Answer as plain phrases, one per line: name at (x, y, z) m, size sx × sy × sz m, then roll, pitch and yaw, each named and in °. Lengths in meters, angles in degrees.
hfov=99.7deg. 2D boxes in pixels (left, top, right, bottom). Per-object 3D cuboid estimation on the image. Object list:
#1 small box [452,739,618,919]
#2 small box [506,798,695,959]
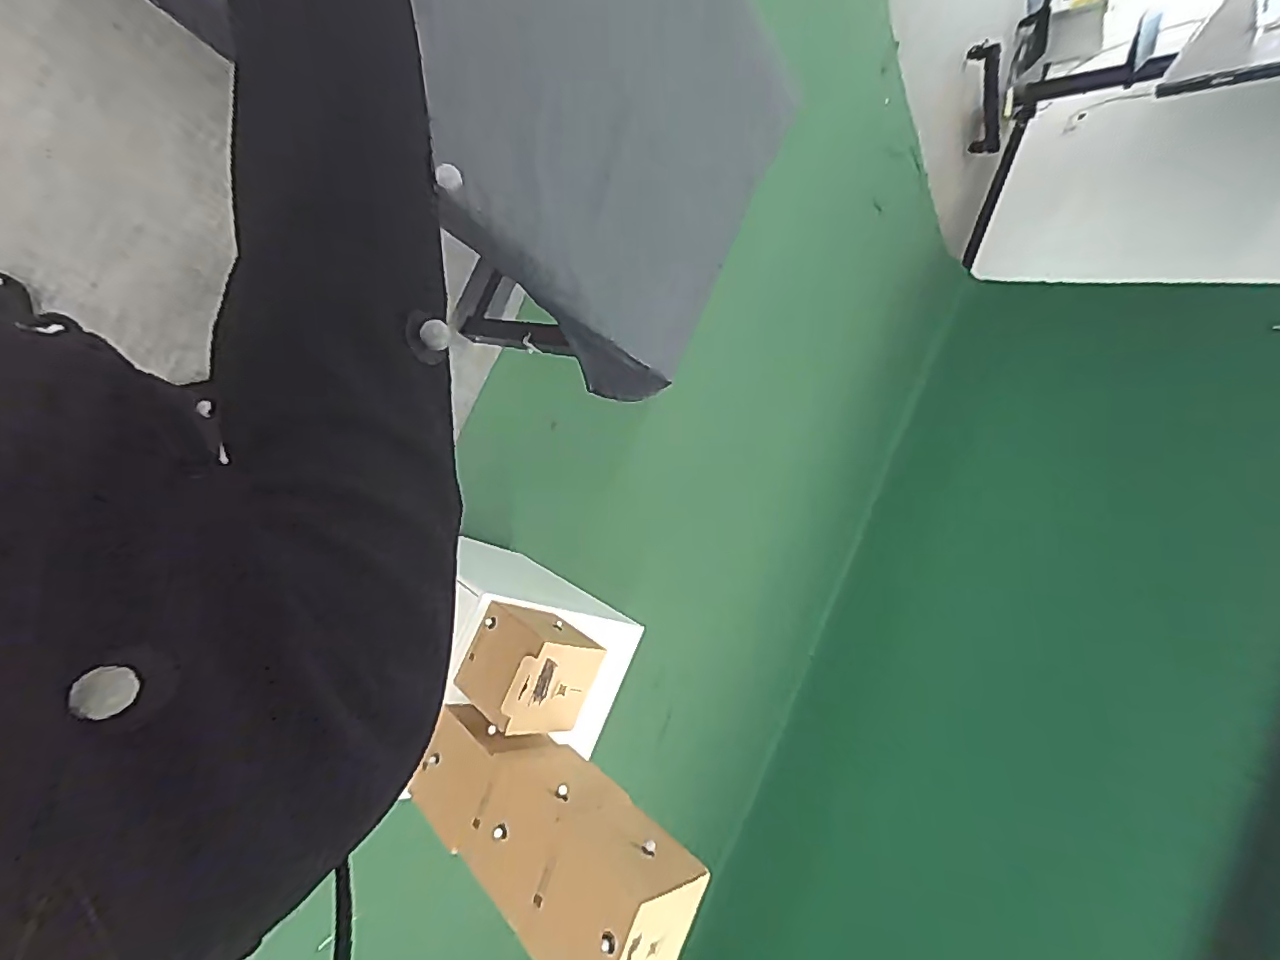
small box at (-0.174, 0.549, 0.883) m, size 0.179 × 0.176 × 0.168 m, roll 24°, pitch 86°, yaw -50°
small box at (-0.056, 0.591, 0.778) m, size 0.179 × 0.176 × 0.168 m, roll 28°, pitch 83°, yaw -51°
